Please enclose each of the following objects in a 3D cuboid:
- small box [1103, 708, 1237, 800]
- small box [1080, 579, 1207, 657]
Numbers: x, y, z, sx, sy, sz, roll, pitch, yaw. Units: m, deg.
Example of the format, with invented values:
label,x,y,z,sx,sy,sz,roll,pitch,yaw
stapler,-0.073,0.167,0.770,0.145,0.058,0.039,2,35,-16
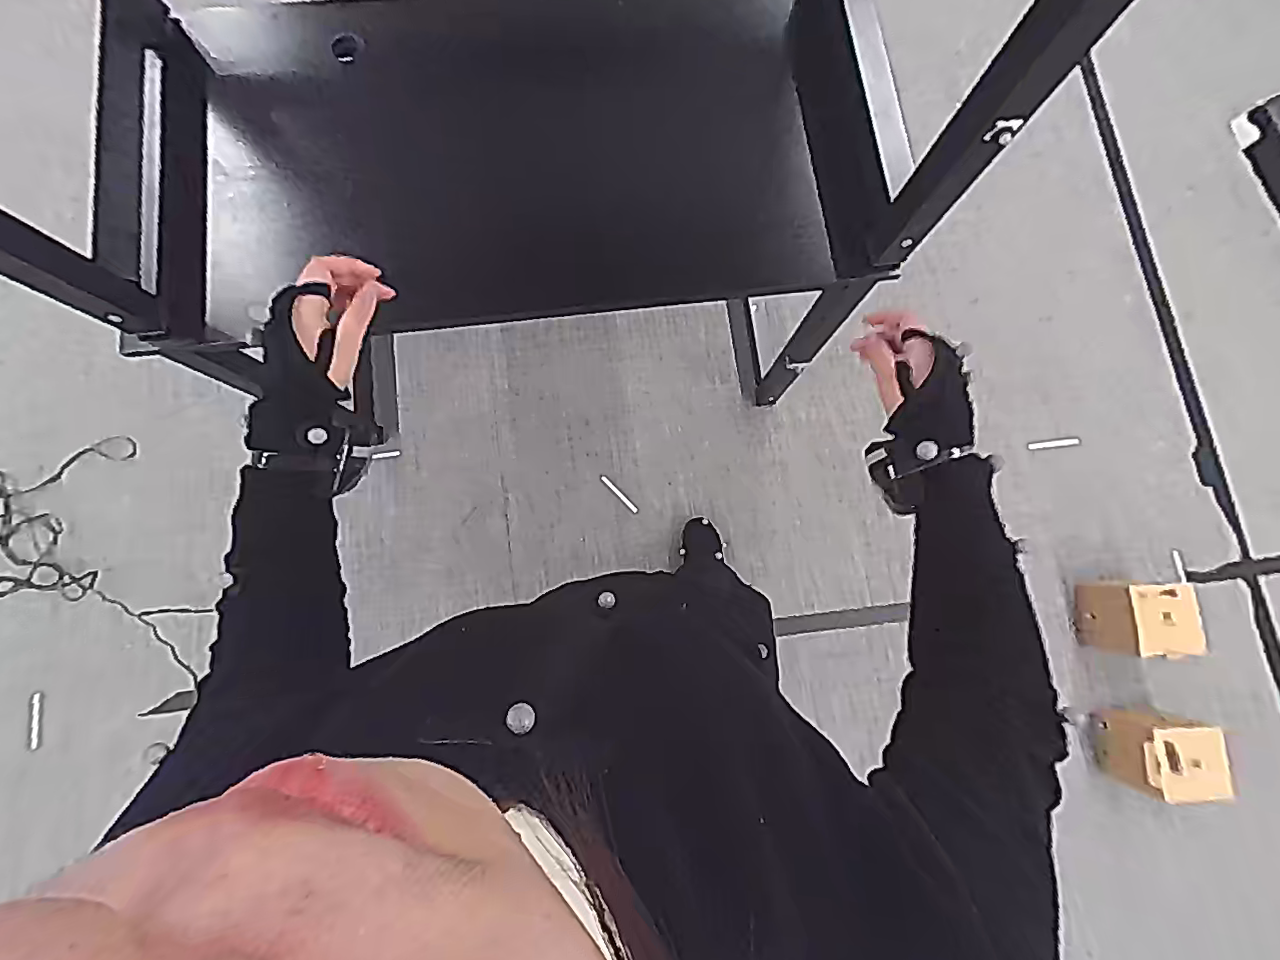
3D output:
label,x,y,z,sx,sy,sz,roll,pitch,yaw
small box,1.315,0.682,1.360,0.179,0.176,0.168,-1,82,-2
small box,1.301,0.354,1.410,0.168,0.176,0.179,-2,82,-1
